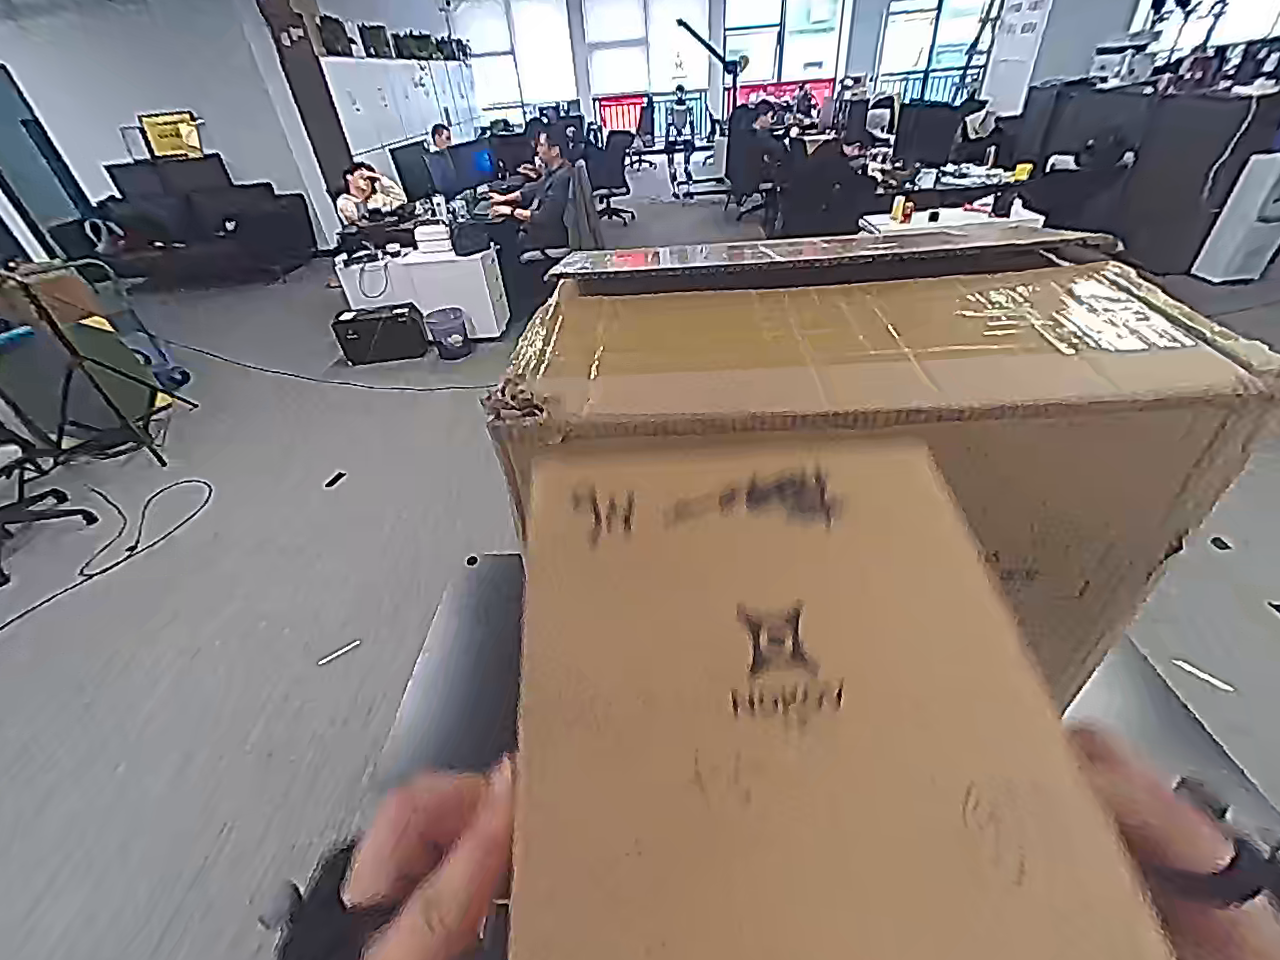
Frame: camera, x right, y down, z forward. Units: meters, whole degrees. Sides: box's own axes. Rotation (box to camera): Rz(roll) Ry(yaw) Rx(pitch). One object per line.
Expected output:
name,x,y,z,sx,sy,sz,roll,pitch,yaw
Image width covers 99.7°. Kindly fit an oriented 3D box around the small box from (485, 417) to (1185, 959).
small box,0.040,0.095,0.230,0.168,0.176,0.179,-3,58,-3
